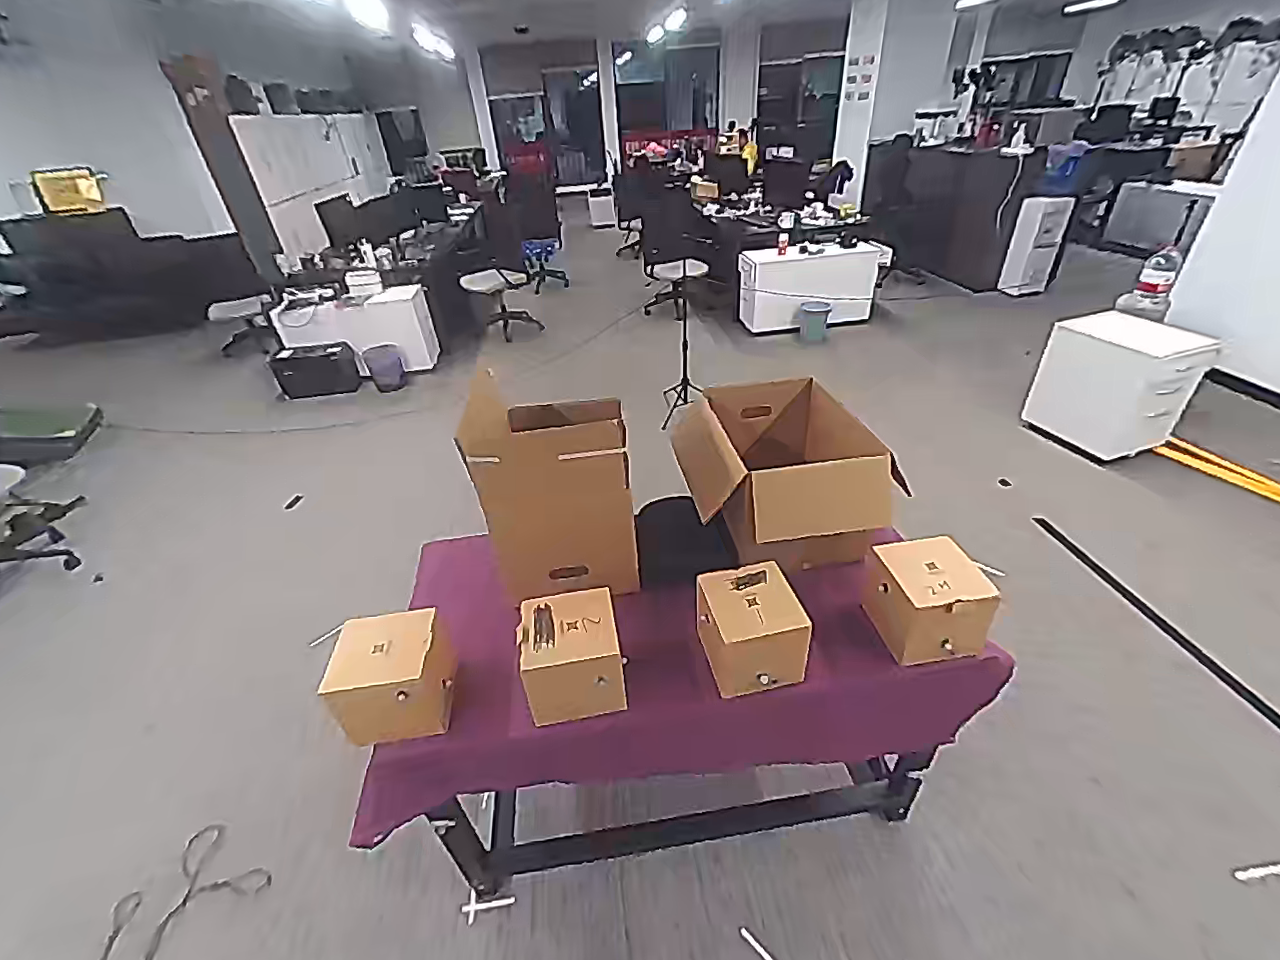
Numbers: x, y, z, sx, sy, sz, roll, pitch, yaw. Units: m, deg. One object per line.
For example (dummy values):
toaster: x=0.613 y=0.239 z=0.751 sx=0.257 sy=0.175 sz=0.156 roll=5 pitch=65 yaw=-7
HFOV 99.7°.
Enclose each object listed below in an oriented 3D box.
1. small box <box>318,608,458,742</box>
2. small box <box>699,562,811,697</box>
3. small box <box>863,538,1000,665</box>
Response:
small box: x=-0.464 y=0.371 z=1.027 sx=0.179 sy=0.176 sz=0.168 roll=-7 pitch=34 yaw=-5
small box: x=0.214 y=0.291 z=1.062 sx=0.168 sy=0.176 sz=0.179 roll=-10 pitch=36 yaw=-7
small box: x=0.570 y=0.242 z=1.087 sx=0.168 sy=0.176 sz=0.179 roll=-8 pitch=34 yaw=-2
